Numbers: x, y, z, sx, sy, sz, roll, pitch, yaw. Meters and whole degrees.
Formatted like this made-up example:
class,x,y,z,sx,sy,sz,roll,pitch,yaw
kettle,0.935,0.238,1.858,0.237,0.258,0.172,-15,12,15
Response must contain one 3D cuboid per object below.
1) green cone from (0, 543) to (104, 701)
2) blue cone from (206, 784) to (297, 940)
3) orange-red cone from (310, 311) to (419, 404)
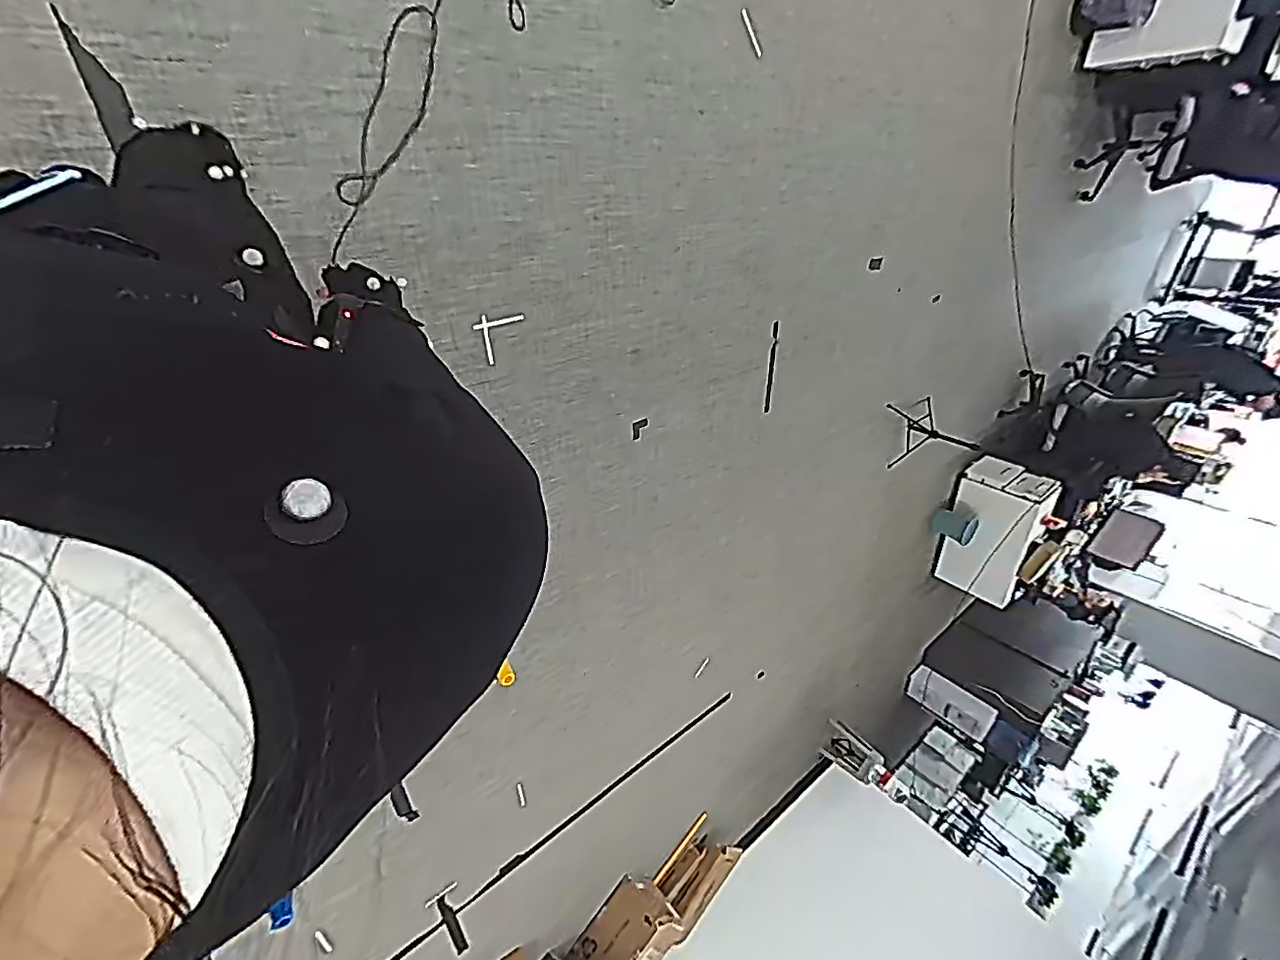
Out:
class,x,y,z,sx,sy,sz,roll,pitch,yaw
green cone,-1.134,0.297,0.956,0.202,0.368,0.200,-21,125,-31
blue cone,-1.032,1.051,1.472,0.192,0.380,0.193,-18,123,-33
orange-red cone,-0.564,-0.237,1.187,0.199,0.360,0.198,-19,125,-36
